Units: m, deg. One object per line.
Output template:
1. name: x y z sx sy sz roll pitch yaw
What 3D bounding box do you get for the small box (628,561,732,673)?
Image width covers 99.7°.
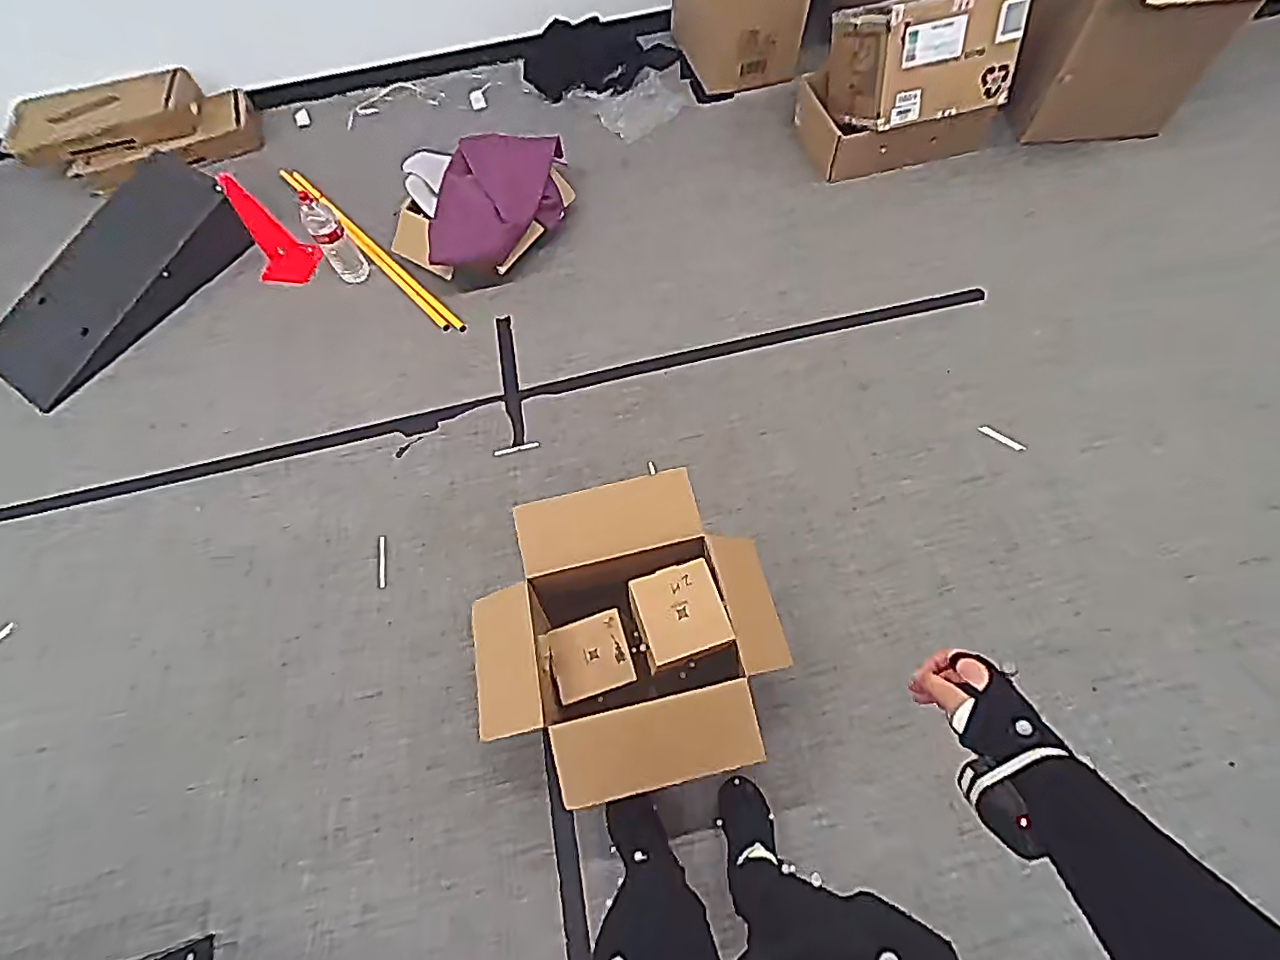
1. small box: 0.079 0.296 1.140 0.168 0.176 0.179 -17 65 -8
